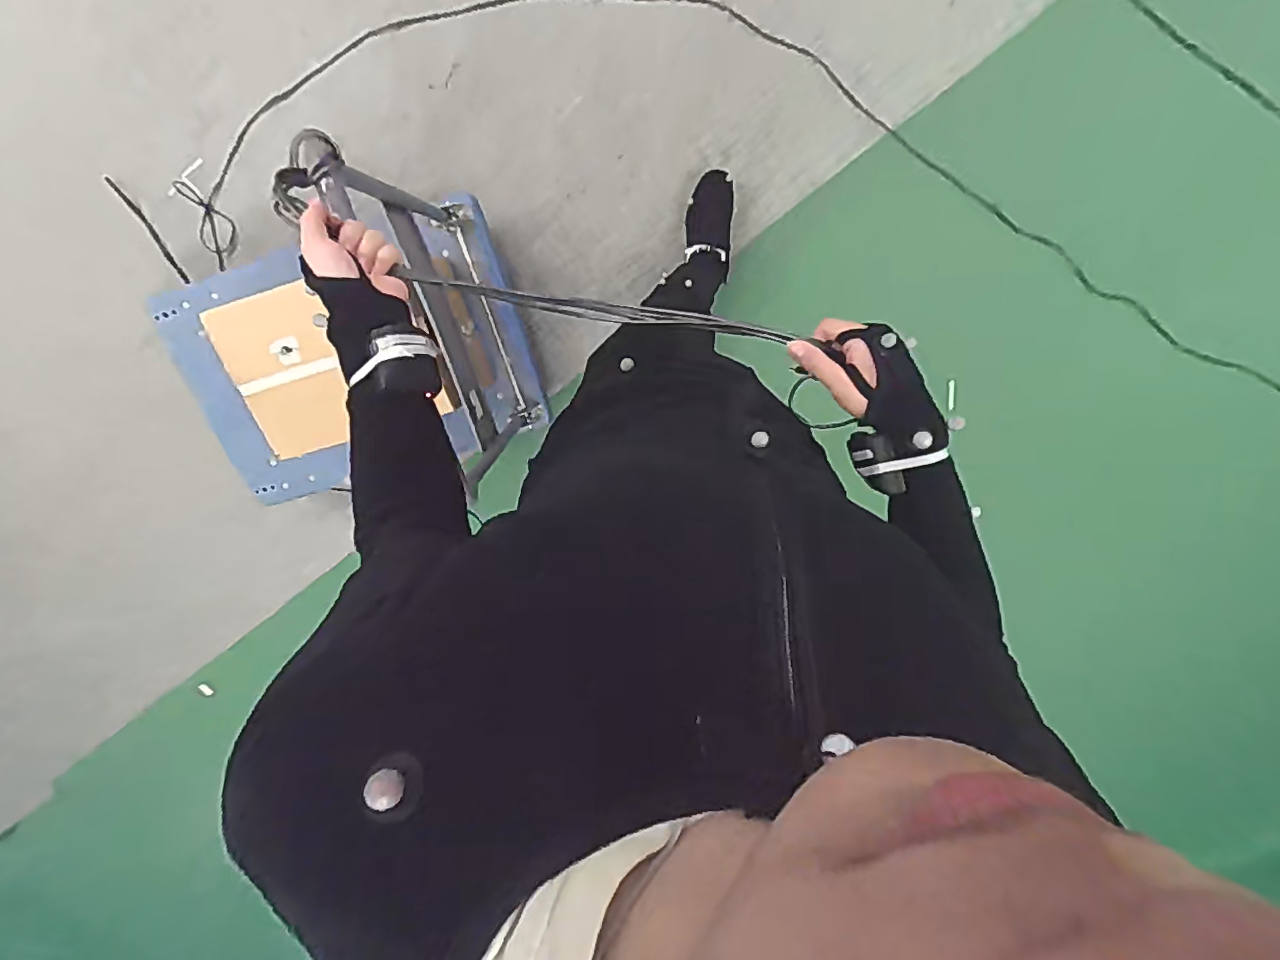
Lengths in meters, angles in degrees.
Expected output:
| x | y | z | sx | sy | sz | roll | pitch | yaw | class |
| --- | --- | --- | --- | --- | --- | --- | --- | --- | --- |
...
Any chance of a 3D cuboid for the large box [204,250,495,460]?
| x | y | z | sx | sy | sz | roll | pitch | yaw | class |
| --- | --- | --- | --- | --- | --- | --- | --- | --- | --- |
| -0.595 | -0.283 | 1.191 | 0.408 | 0.320 | 0.320 | -15 | 109 | 7 | large box |
